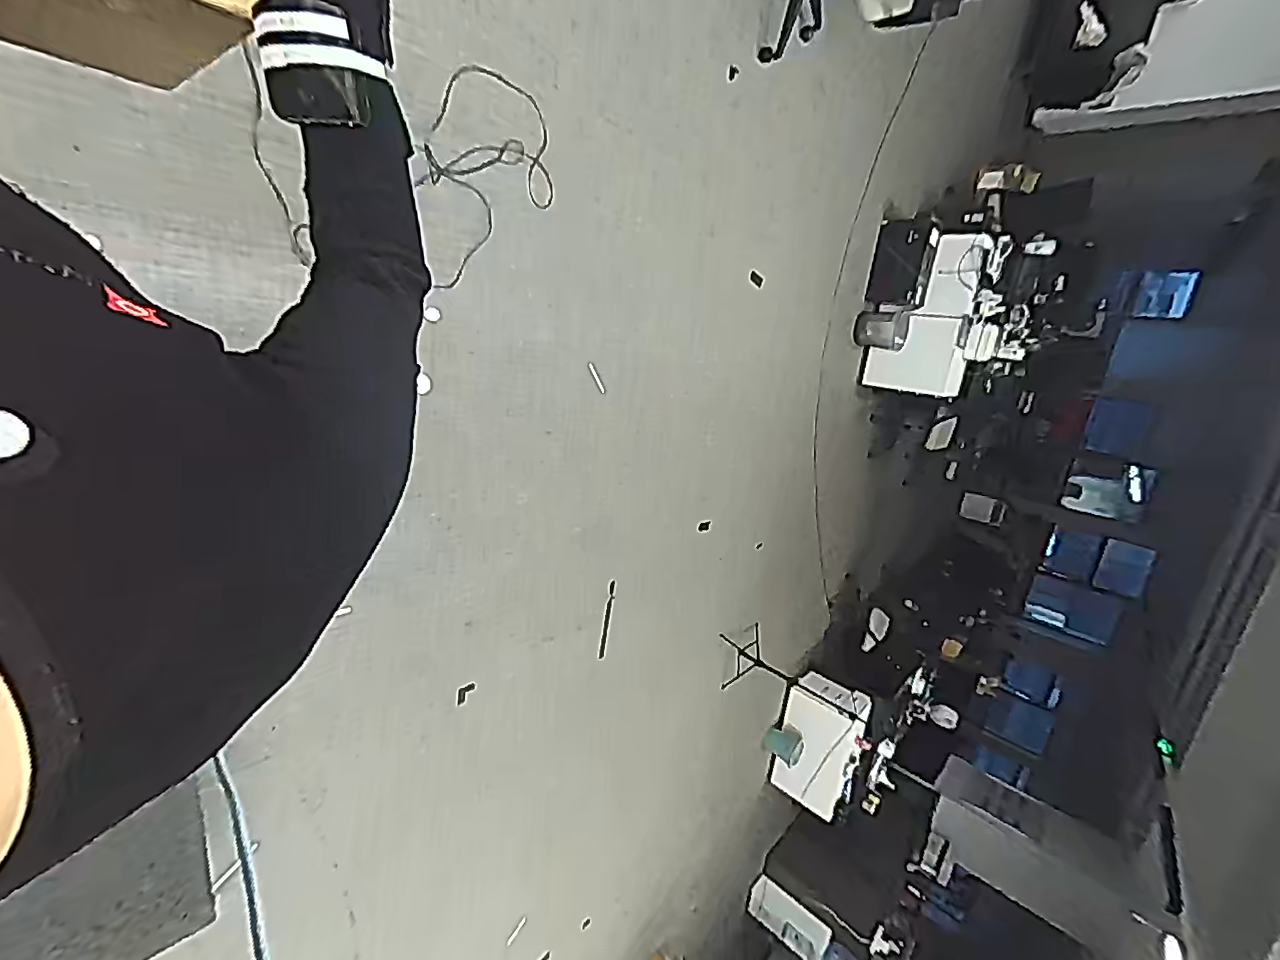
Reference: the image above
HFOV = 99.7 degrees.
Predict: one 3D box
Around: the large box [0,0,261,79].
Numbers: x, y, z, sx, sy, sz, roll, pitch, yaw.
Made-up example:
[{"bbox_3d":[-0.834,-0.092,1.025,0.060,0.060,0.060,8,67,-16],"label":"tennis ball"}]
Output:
[{"bbox_3d":[-0.473,-0.463,0.256,0.408,0.320,0.320,-12,117,-48],"label":"large box"}]
